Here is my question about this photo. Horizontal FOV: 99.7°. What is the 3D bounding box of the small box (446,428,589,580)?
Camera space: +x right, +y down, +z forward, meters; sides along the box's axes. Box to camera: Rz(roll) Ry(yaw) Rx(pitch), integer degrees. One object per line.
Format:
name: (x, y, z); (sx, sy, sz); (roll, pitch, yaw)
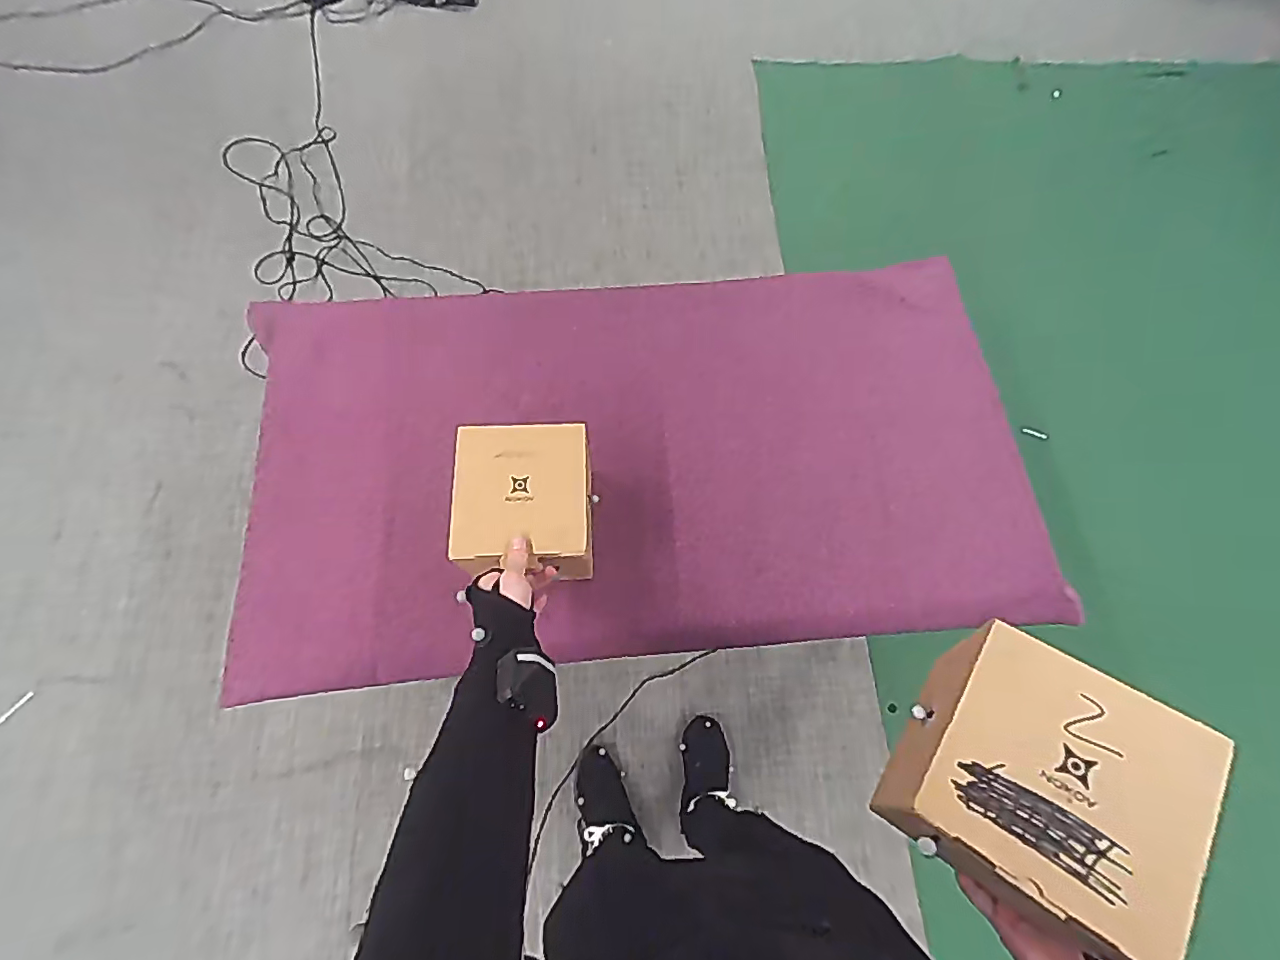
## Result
small box: (-0.156, 0.042, 0.749); (0.168, 0.176, 0.179); (-1, 69, -4)
